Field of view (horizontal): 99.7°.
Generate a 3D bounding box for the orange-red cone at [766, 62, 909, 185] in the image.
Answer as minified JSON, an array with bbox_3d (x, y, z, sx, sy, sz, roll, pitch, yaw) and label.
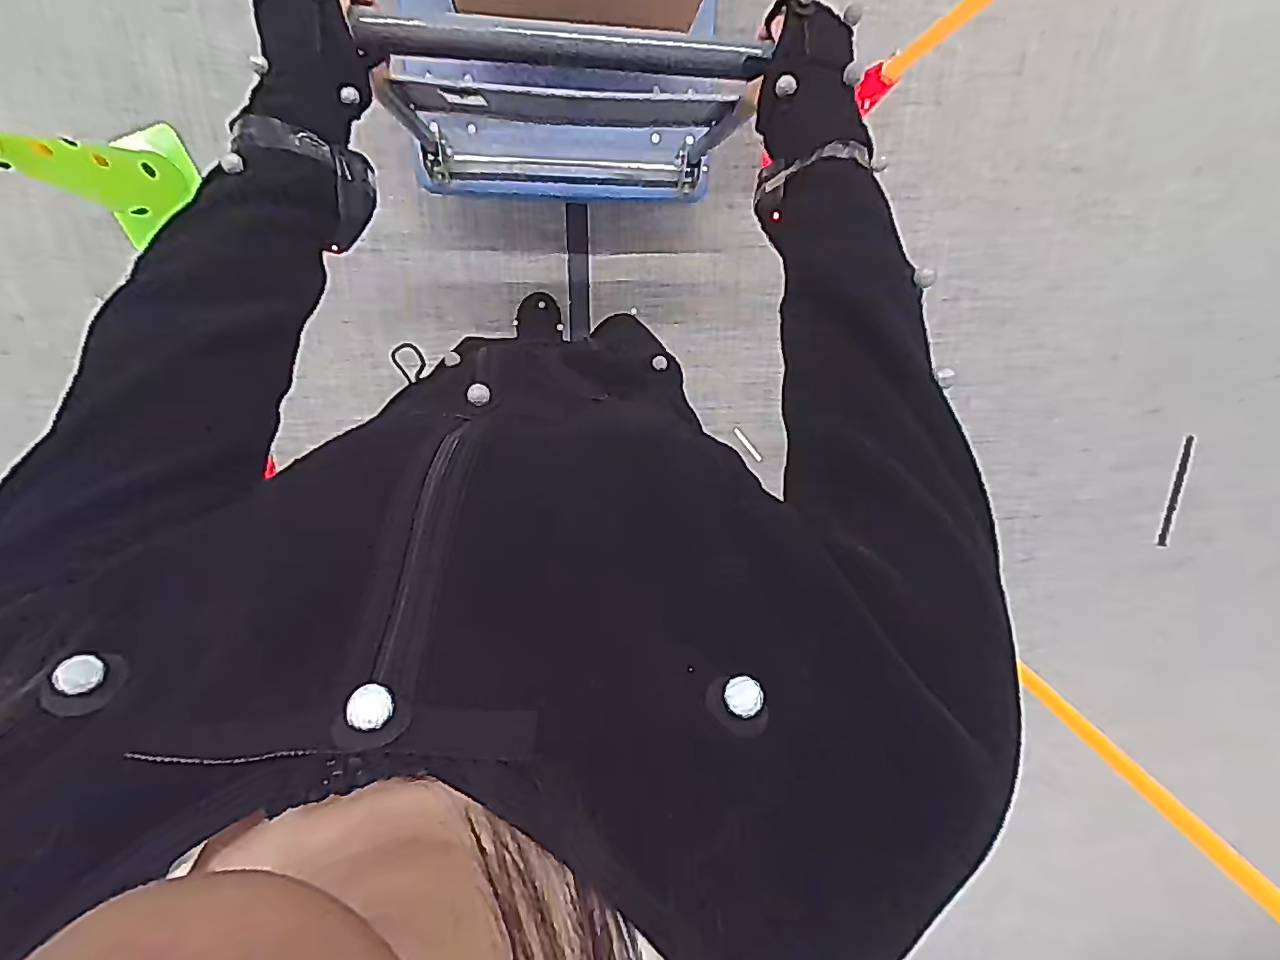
[{"bbox_3d":[0.421,-0.747,1.084,0.199,0.360,0.198,3,108,-9],"label":"orange-red cone"}]
